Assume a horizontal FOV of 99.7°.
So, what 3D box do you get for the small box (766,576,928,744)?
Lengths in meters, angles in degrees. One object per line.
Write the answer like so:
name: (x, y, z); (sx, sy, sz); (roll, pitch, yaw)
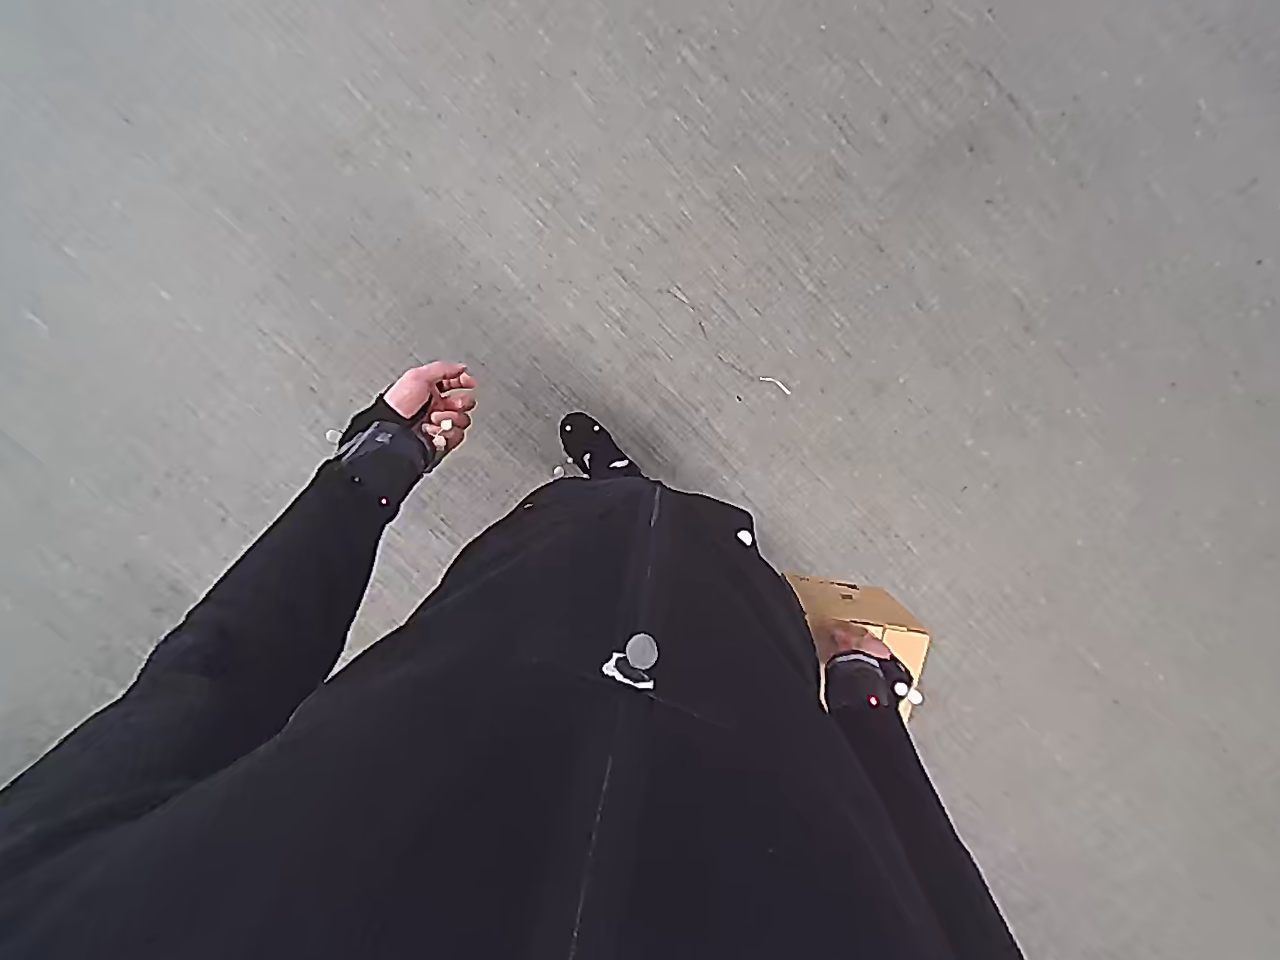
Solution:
small box: (0.291, 0.259, 0.797); (0.168, 0.179, 0.176); (8, 99, 1)
